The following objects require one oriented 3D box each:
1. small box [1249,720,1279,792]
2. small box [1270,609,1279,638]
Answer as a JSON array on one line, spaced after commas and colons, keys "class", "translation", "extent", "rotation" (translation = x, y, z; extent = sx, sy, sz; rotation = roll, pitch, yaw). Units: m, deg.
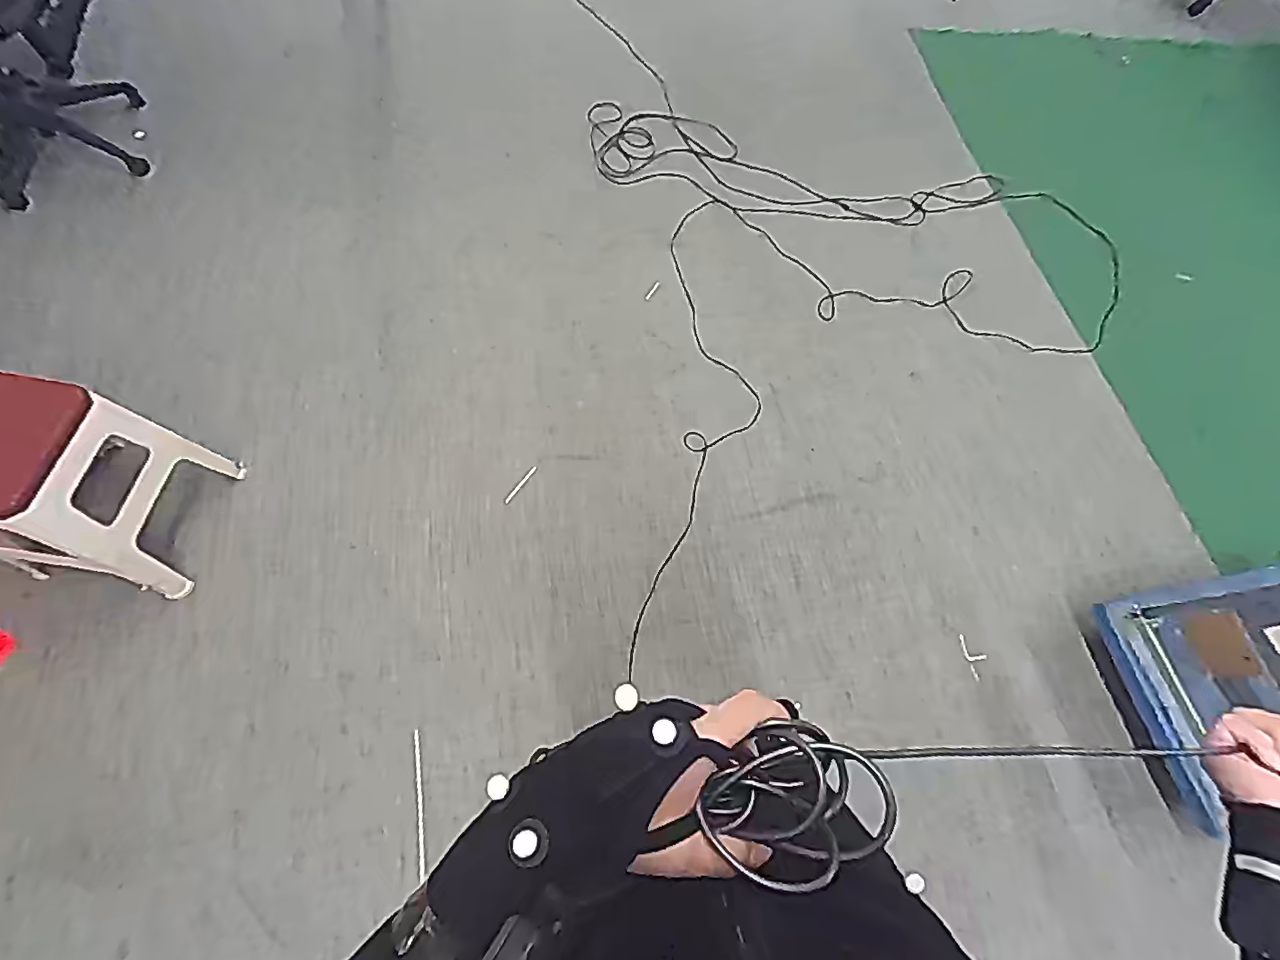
[{"class": "small box", "translation": [1.658, 0.668, 1.297], "extent": [0.179, 0.176, 0.168], "rotation": [-7, 67, -8]}, {"class": "small box", "translation": [1.859, 0.407, 1.434], "extent": [0.179, 0.176, 0.168], "rotation": [-11, 69, -11]}]
